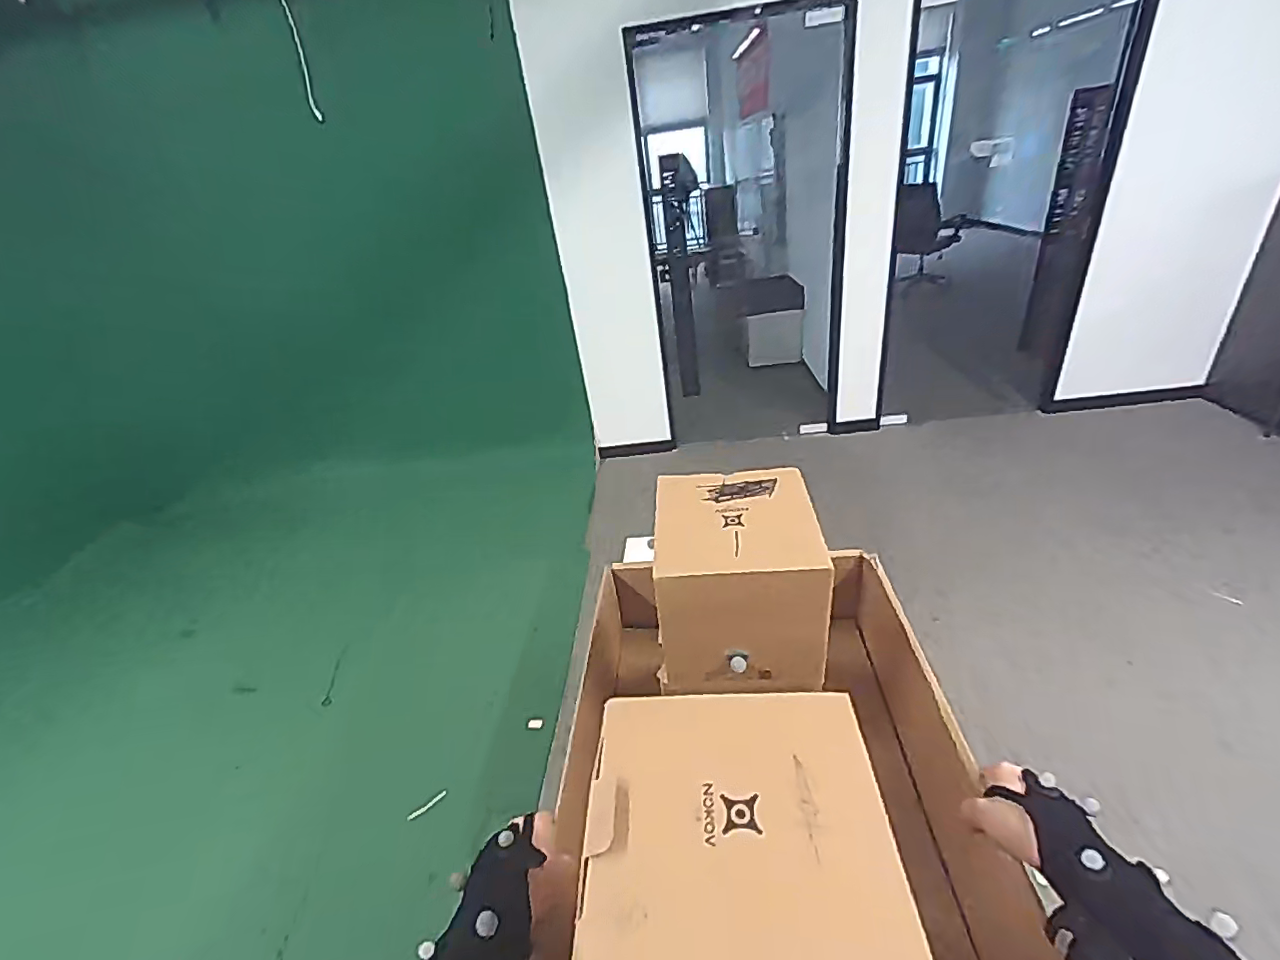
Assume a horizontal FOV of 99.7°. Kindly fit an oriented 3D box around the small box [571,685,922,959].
[{"bbox_3d":[0.062,0.264,0.372,0.179,0.176,0.168,-3,33,5],"label":"small box"}]

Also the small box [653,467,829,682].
[{"bbox_3d":[0.106,0.102,0.613,0.168,0.176,0.179,-3,33,7],"label":"small box"}]
